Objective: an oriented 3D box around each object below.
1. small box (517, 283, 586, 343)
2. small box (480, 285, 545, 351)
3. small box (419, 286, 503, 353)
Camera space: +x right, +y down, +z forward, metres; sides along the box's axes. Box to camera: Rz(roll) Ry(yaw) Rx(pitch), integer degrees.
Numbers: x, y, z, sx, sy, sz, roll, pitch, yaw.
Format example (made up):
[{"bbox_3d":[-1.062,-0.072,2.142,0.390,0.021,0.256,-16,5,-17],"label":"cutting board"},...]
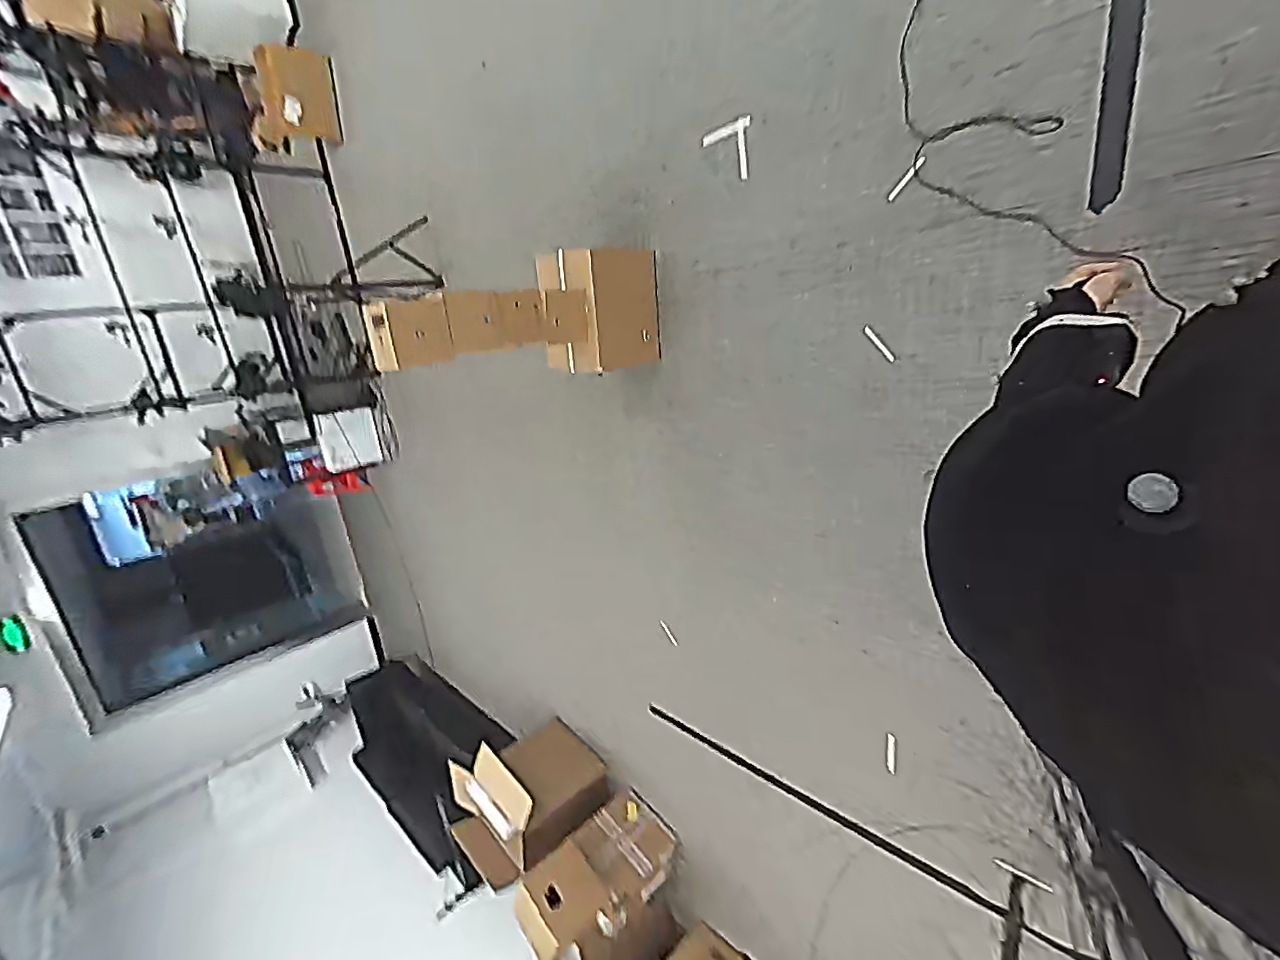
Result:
[{"bbox_3d":[-0.295,-0.569,1.828,0.168,0.176,0.179,20,119,41],"label":"small box"},{"bbox_3d":[-0.420,-0.521,1.735,0.179,0.176,0.168,0,106,48],"label":"small box"},{"bbox_3d":[-0.534,-0.482,1.624,0.168,0.176,0.179,8,111,45],"label":"small box"}]
